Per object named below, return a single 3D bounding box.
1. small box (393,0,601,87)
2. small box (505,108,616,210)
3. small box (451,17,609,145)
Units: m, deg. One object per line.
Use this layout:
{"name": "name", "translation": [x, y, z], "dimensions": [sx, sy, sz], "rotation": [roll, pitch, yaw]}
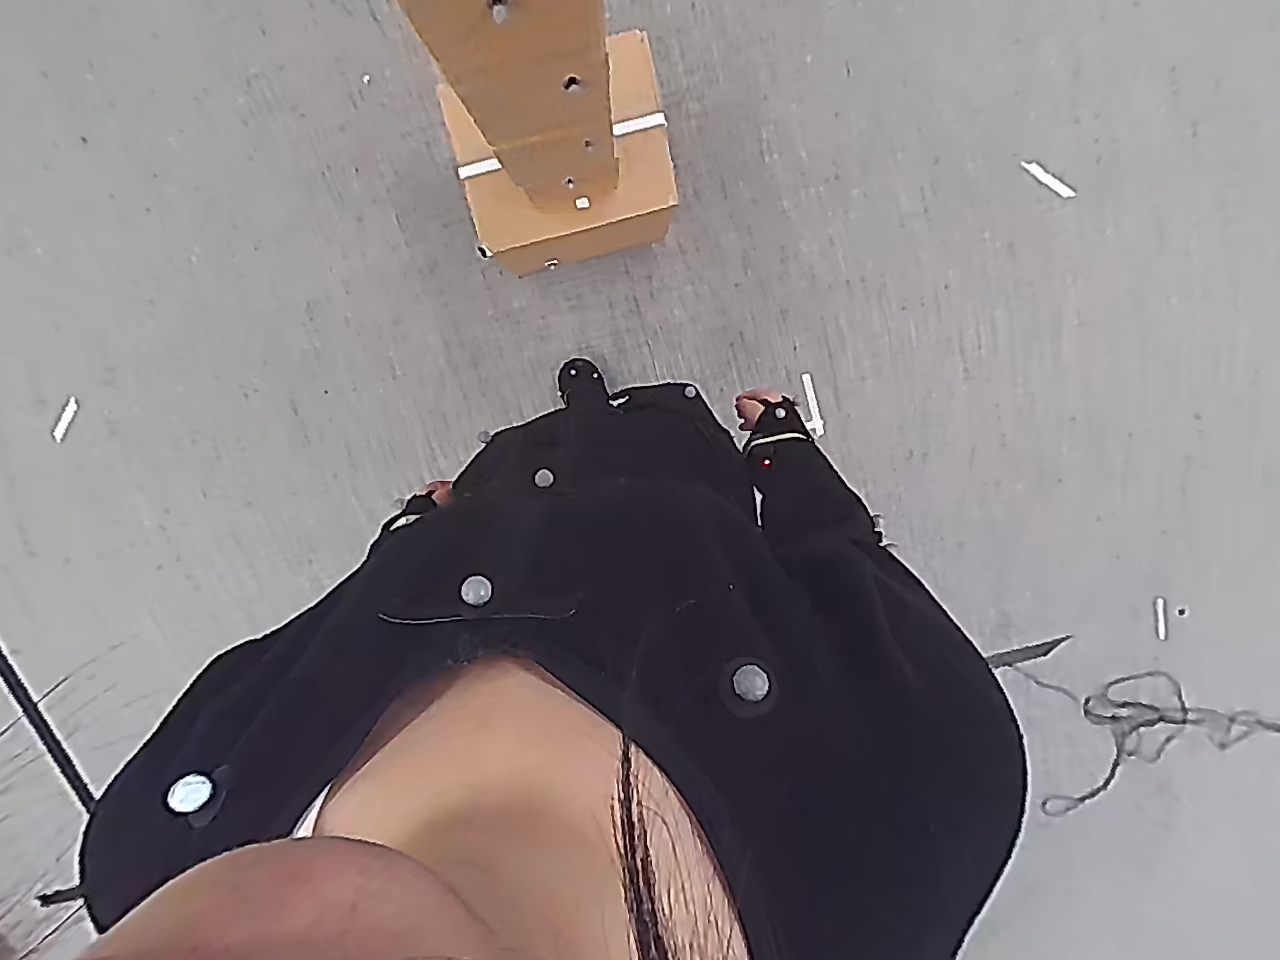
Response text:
{"name": "small box", "translation": [-0.134, -0.496, 0.487], "dimensions": [0.179, 0.176, 0.168], "rotation": [-12, 104, 1]}
{"name": "small box", "translation": [-0.146, -0.605, 0.965], "dimensions": [0.179, 0.176, 0.168], "rotation": [-17, 104, 1]}
{"name": "small box", "translation": [-0.139, -0.532, 0.644], "dimensions": [0.179, 0.176, 0.168], "rotation": [-13, 103, 1]}
